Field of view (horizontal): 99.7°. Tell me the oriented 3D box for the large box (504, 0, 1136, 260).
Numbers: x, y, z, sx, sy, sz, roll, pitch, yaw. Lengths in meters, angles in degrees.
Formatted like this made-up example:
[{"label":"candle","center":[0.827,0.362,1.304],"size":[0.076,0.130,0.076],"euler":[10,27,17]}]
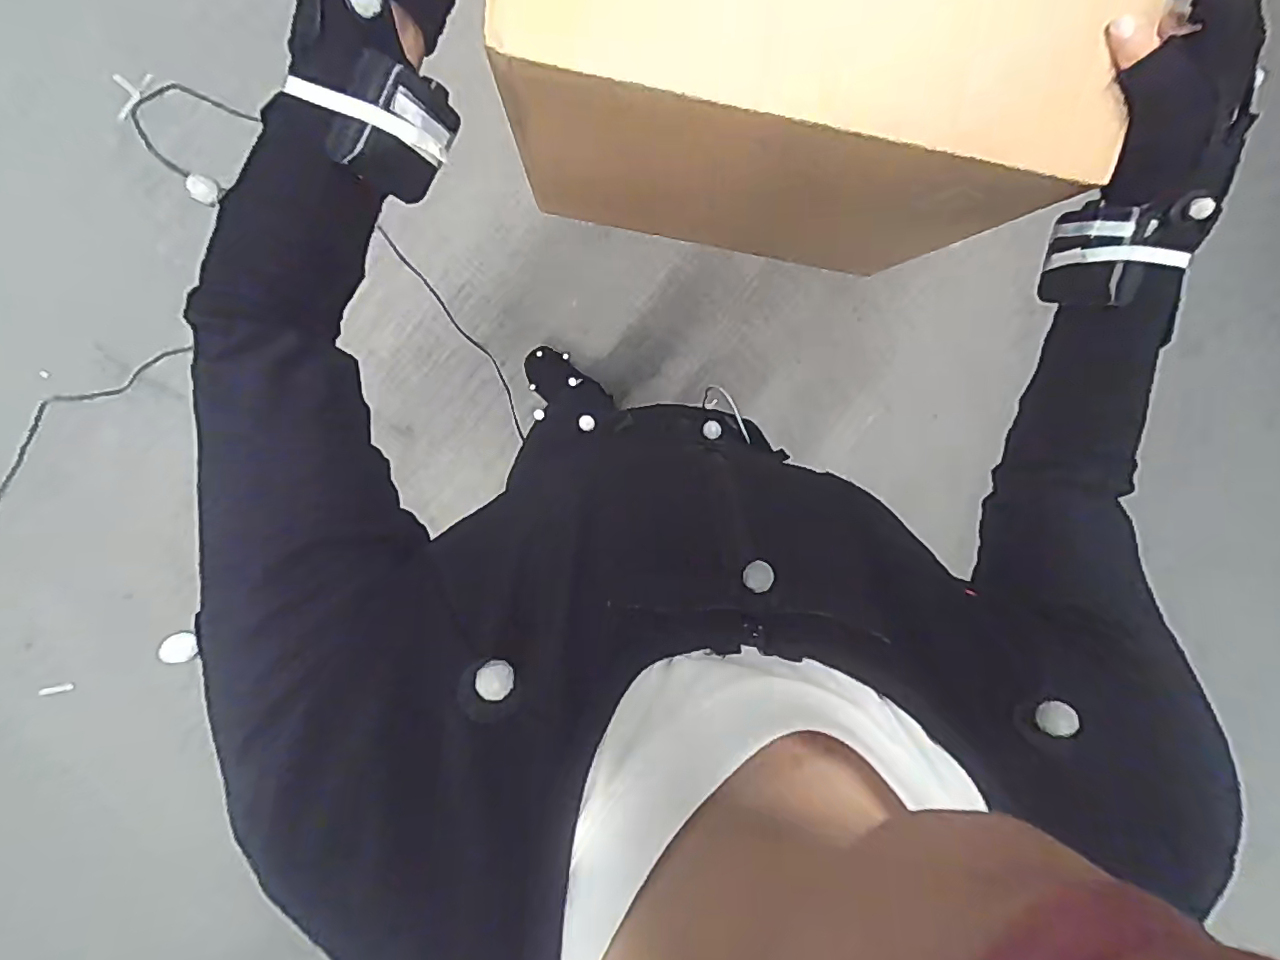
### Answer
[{"label":"large box","center":[0.115,-0.408,0.464],"size":[0.408,0.320,0.320],"euler":[7,100,-7]}]
